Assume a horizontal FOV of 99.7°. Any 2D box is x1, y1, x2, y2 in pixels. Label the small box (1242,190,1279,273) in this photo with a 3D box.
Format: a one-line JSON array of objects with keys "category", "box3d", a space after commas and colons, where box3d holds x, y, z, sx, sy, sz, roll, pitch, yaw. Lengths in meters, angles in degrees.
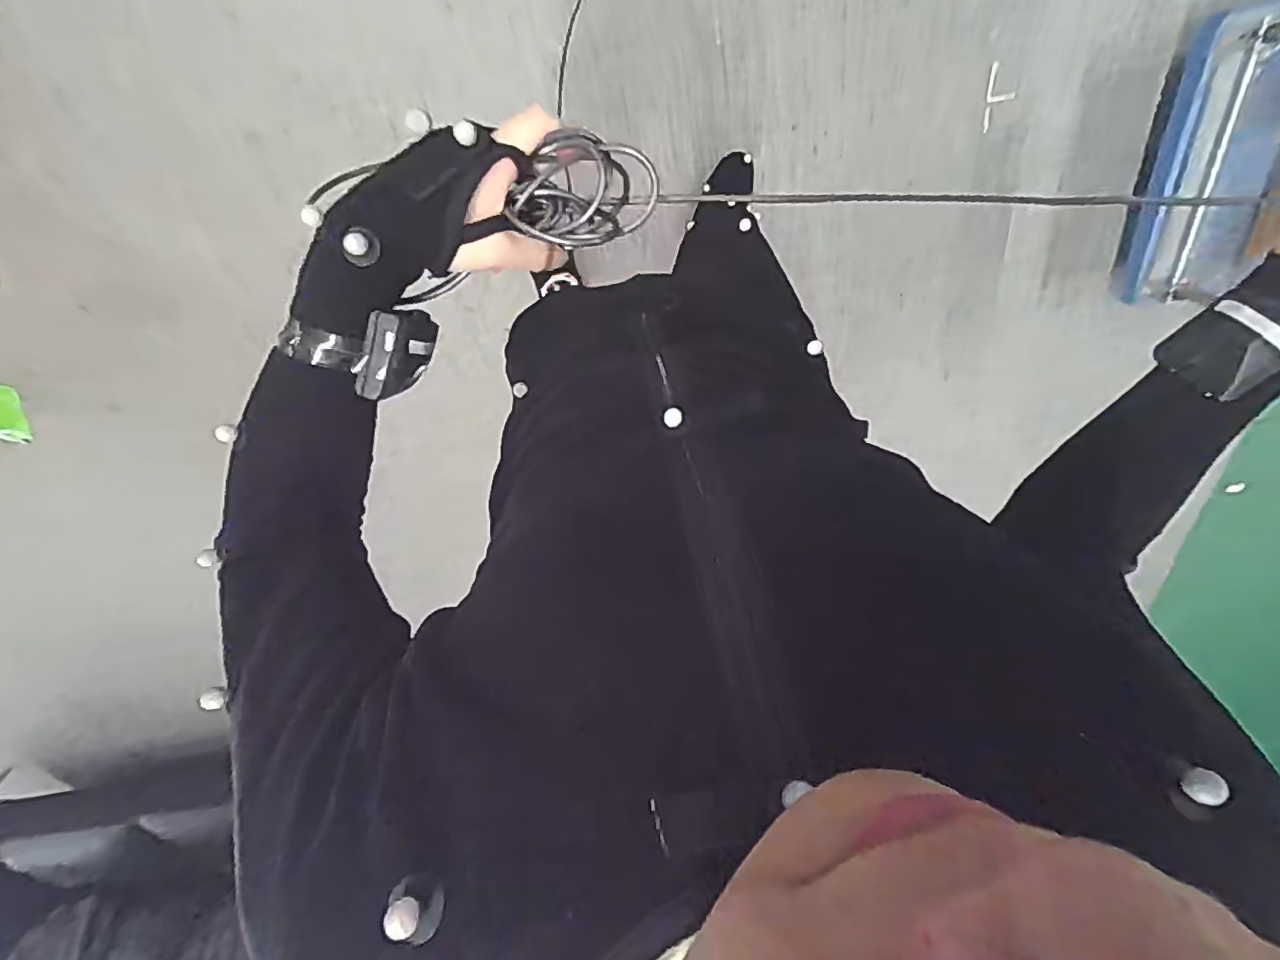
[{"category": "small box", "box3d": [1.490, -0.543, 1.158, 0.179, 0.176, 0.168, -8, 124, 6]}]
